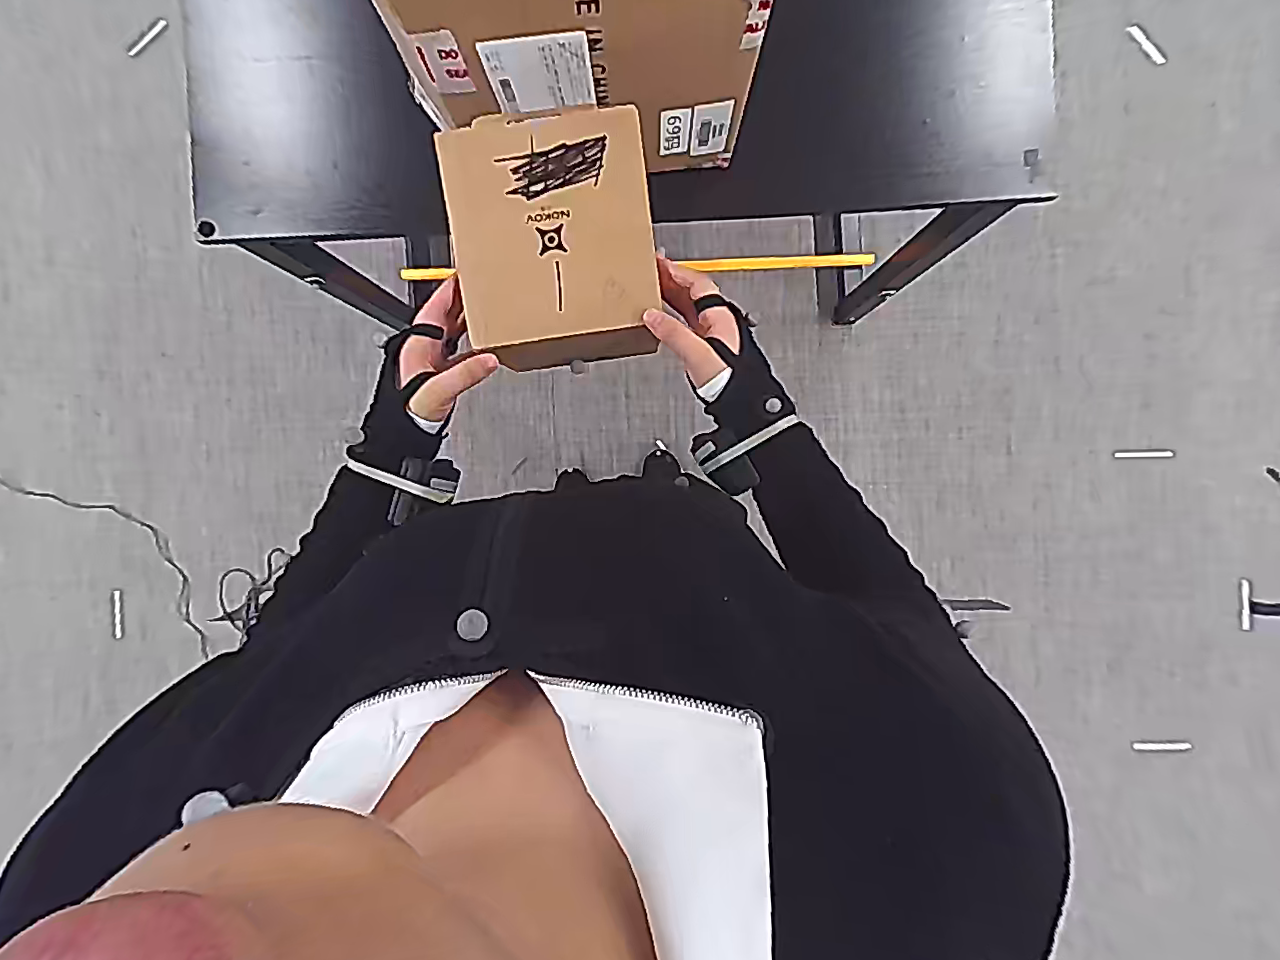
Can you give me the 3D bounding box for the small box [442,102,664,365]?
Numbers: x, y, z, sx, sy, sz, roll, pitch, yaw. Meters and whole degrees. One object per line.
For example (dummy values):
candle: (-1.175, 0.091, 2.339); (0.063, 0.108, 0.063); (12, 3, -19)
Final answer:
small box: (-0.072, -0.219, 0.527); (0.168, 0.176, 0.179); (-8, 95, 1)
